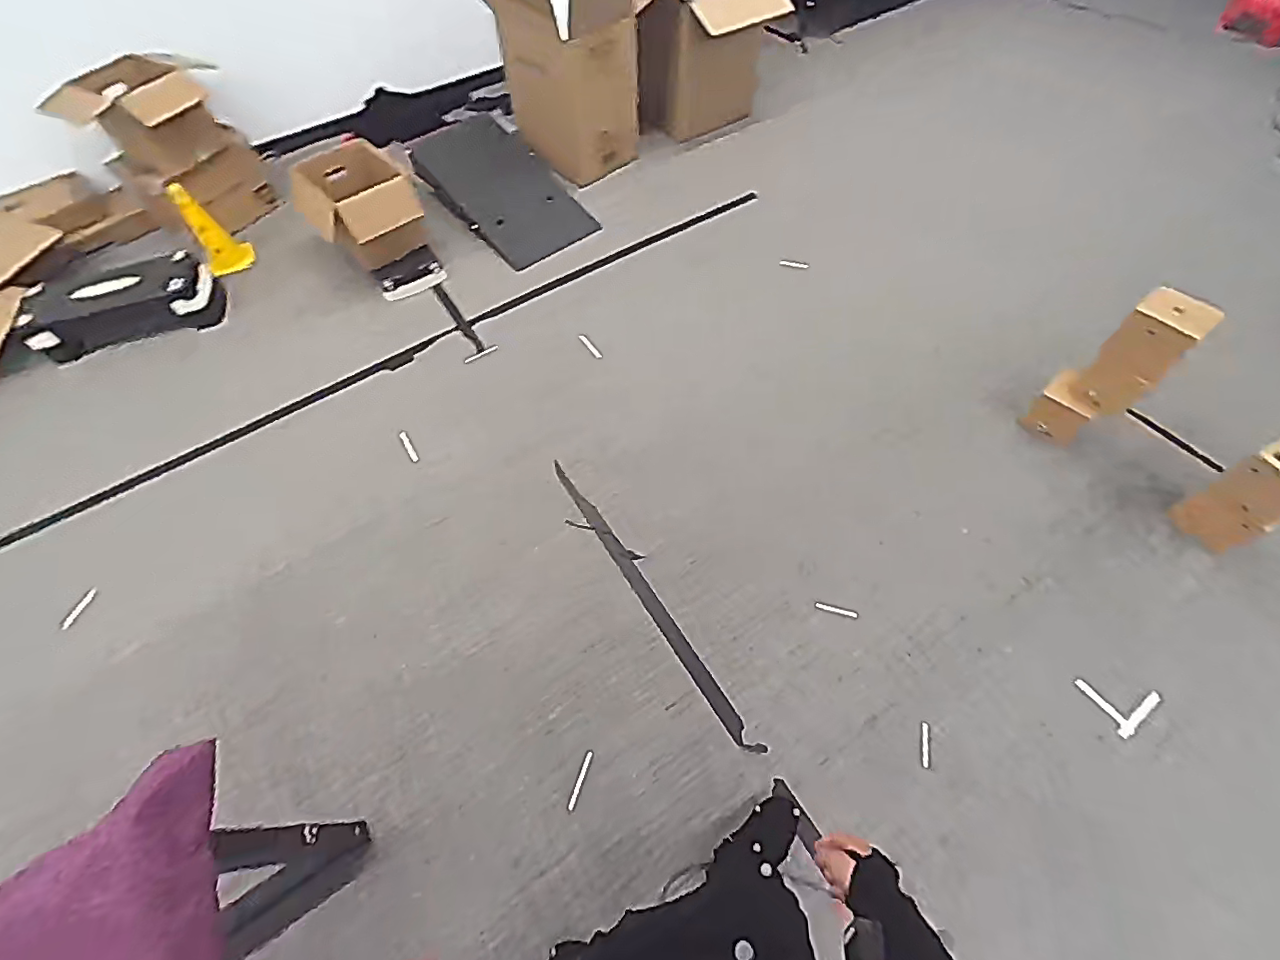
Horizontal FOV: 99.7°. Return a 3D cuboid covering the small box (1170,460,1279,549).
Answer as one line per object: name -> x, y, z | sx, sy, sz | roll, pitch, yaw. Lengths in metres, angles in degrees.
small box -> 1.783, 0.079, 1.630 | 0.168, 0.176, 0.179 | -30, 63, -15

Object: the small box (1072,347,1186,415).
small box -> 1.530, -0.339, 1.707 | 0.179, 0.176, 0.168 | -27, 60, -14

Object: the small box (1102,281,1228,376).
small box -> 1.515, -0.437, 1.575 | 0.168, 0.176, 0.179 | -34, 62, -18

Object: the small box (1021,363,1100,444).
small box -> 1.458, -0.261, 1.854 | 0.179, 0.176, 0.168 | -41, 64, -20
